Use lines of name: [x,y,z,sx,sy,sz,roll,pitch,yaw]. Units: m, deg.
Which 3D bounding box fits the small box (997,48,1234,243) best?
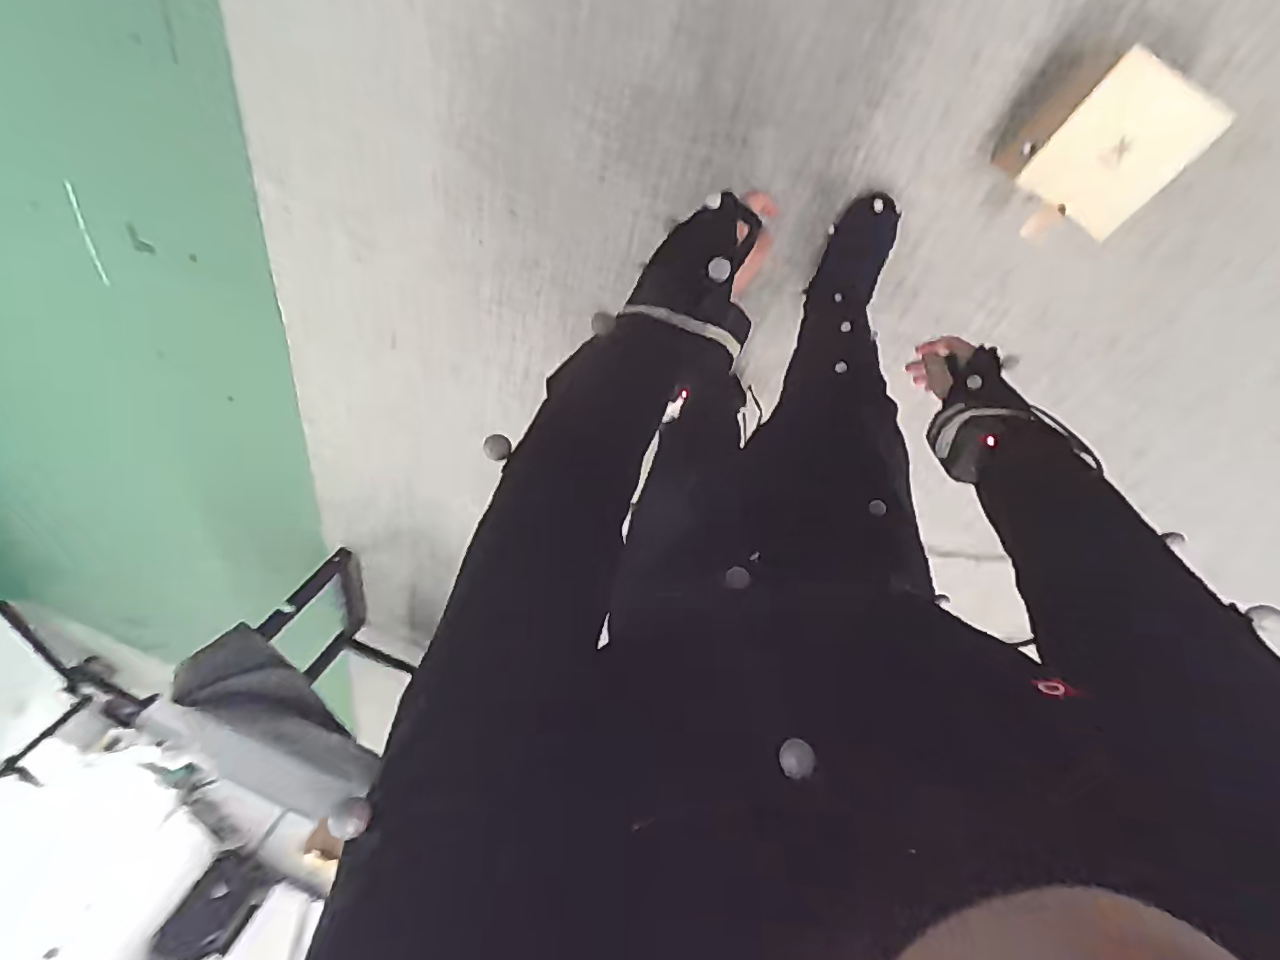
small box: [0.670,-0.488,0.791,0.168,0.176,0.179,31,131,-5]
